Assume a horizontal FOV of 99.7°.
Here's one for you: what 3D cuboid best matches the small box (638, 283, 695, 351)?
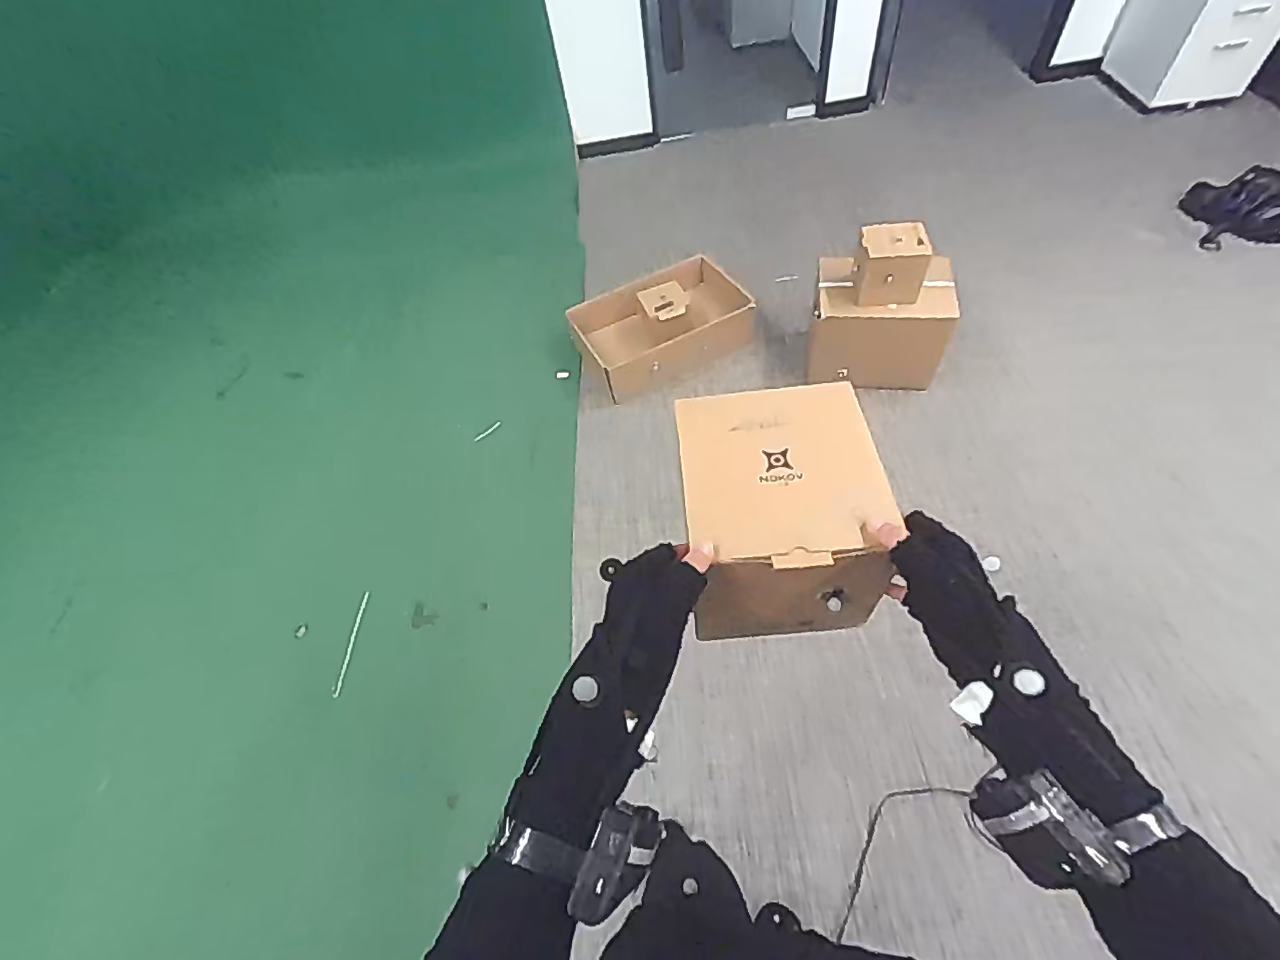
[{"bbox_3d":[0.104,-0.612,2.057,0.168,0.176,0.179,-19,52,-4],"label":"small box"}]

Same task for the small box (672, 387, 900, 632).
[{"bbox_3d":[0.122,0.037,0.521,0.168,0.176,0.179,-5,52,3],"label":"small box"}]

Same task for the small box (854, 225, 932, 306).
[{"bbox_3d":[0.759,-0.647,1.648,0.179,0.176,0.168,-1,55,10],"label":"small box"}]
